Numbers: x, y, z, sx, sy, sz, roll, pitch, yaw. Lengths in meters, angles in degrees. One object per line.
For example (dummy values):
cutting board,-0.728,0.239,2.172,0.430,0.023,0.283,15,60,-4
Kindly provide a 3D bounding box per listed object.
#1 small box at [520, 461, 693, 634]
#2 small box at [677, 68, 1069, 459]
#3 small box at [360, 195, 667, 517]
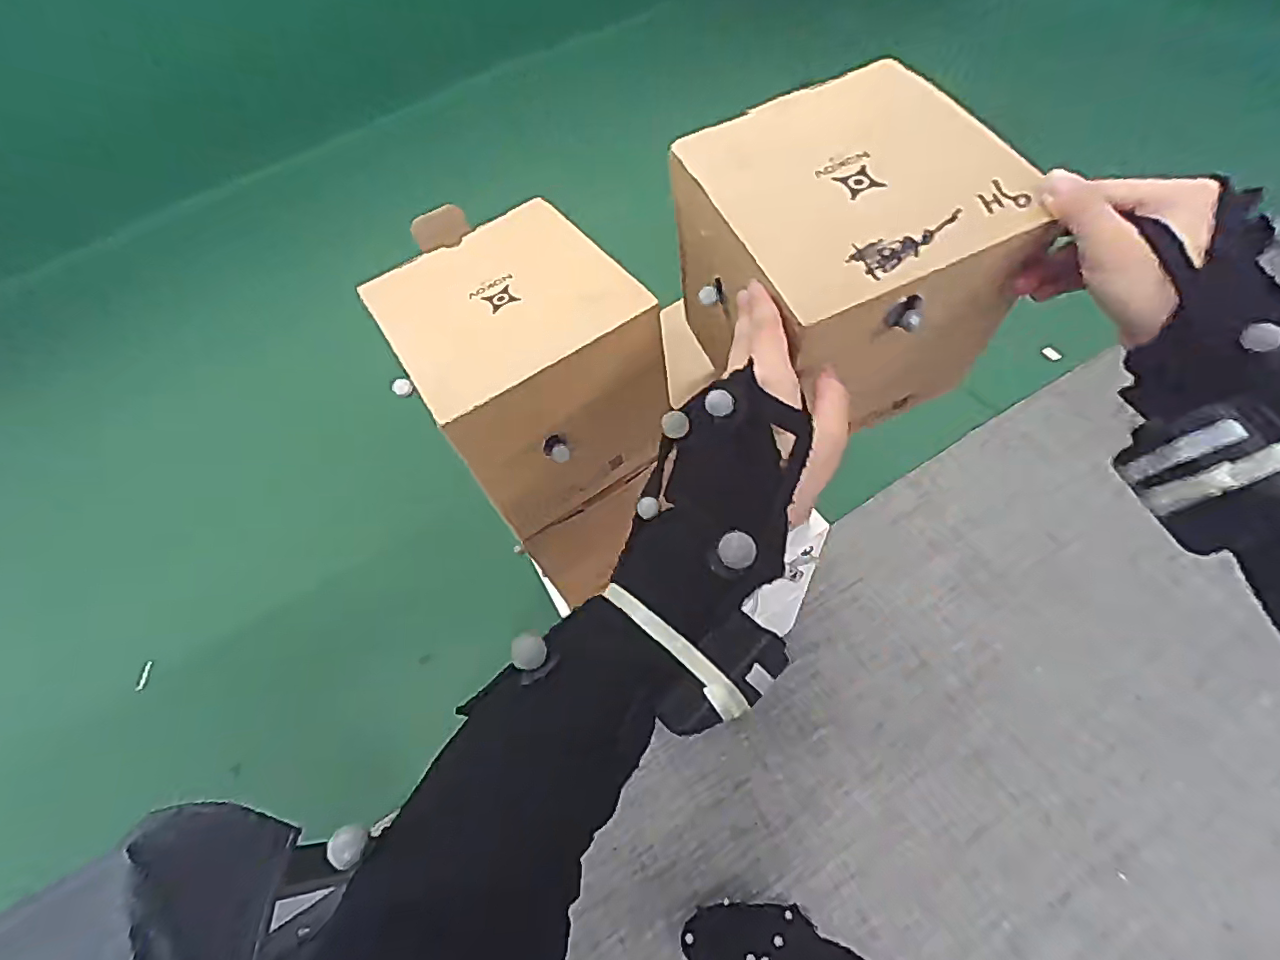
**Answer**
small box,-0.041,0.085,0.721,0.168,0.176,0.179,-29,59,-10
small box,0.137,-0.147,0.395,0.168,0.176,0.179,-23,63,-4
small box,-0.090,-0.091,0.453,0.168,0.176,0.179,-32,61,-12
